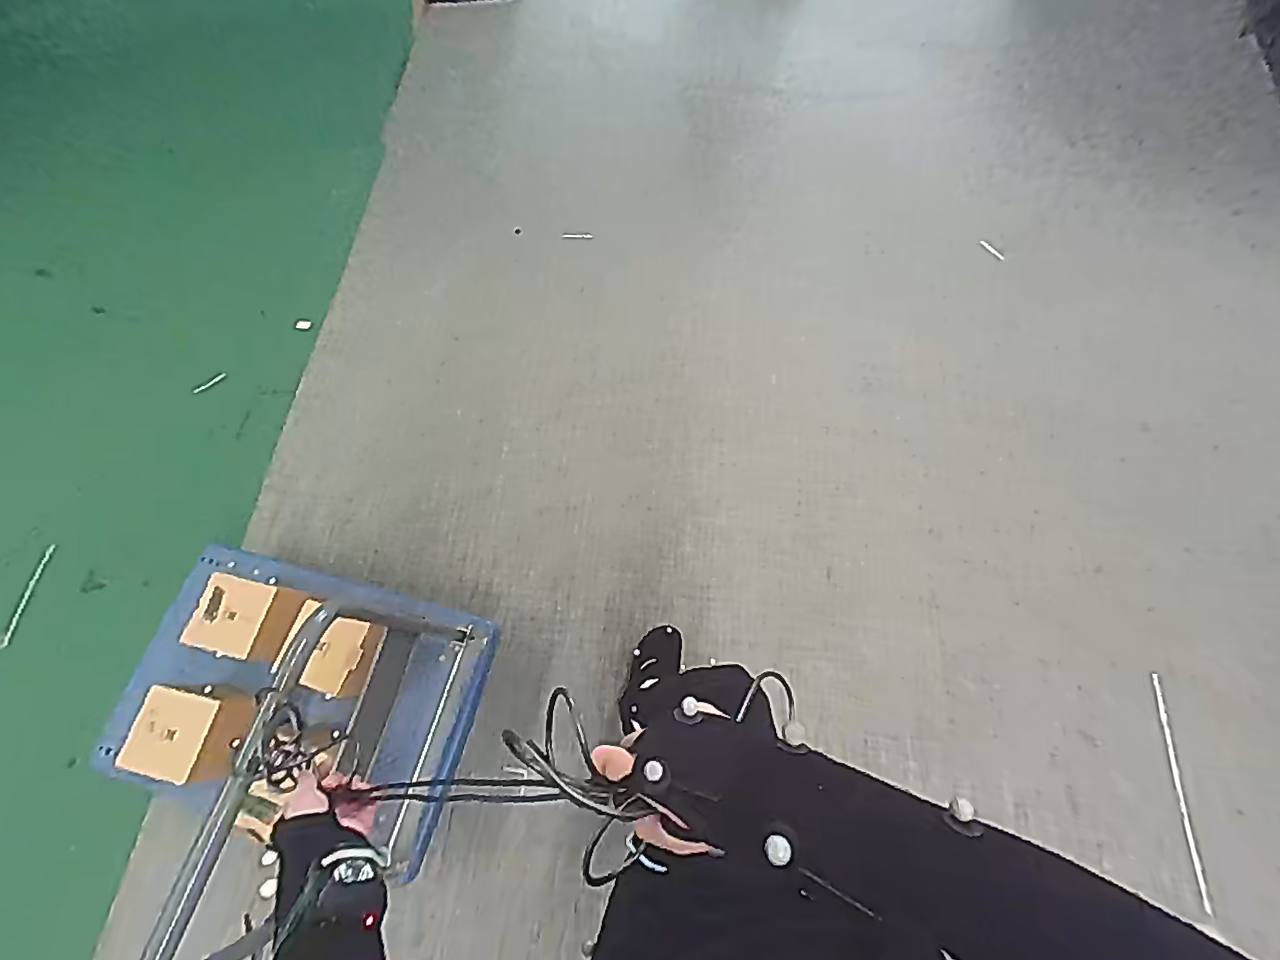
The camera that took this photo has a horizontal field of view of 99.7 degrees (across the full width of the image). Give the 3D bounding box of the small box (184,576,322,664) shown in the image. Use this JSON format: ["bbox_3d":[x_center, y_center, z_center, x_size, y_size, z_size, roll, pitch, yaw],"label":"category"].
[{"bbox_3d":[-0.921,0.342,1.304,0.179,0.176,0.168,11,72,9],"label":"small box"}]

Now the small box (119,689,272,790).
[{"bbox_3d":[-0.988,0.576,1.223,0.179,0.176,0.168,10,70,9],"label":"small box"}]

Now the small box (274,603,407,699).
[{"bbox_3d":[-0.687,0.402,1.260,0.179,0.176,0.168,15,72,10],"label":"small box"}]
